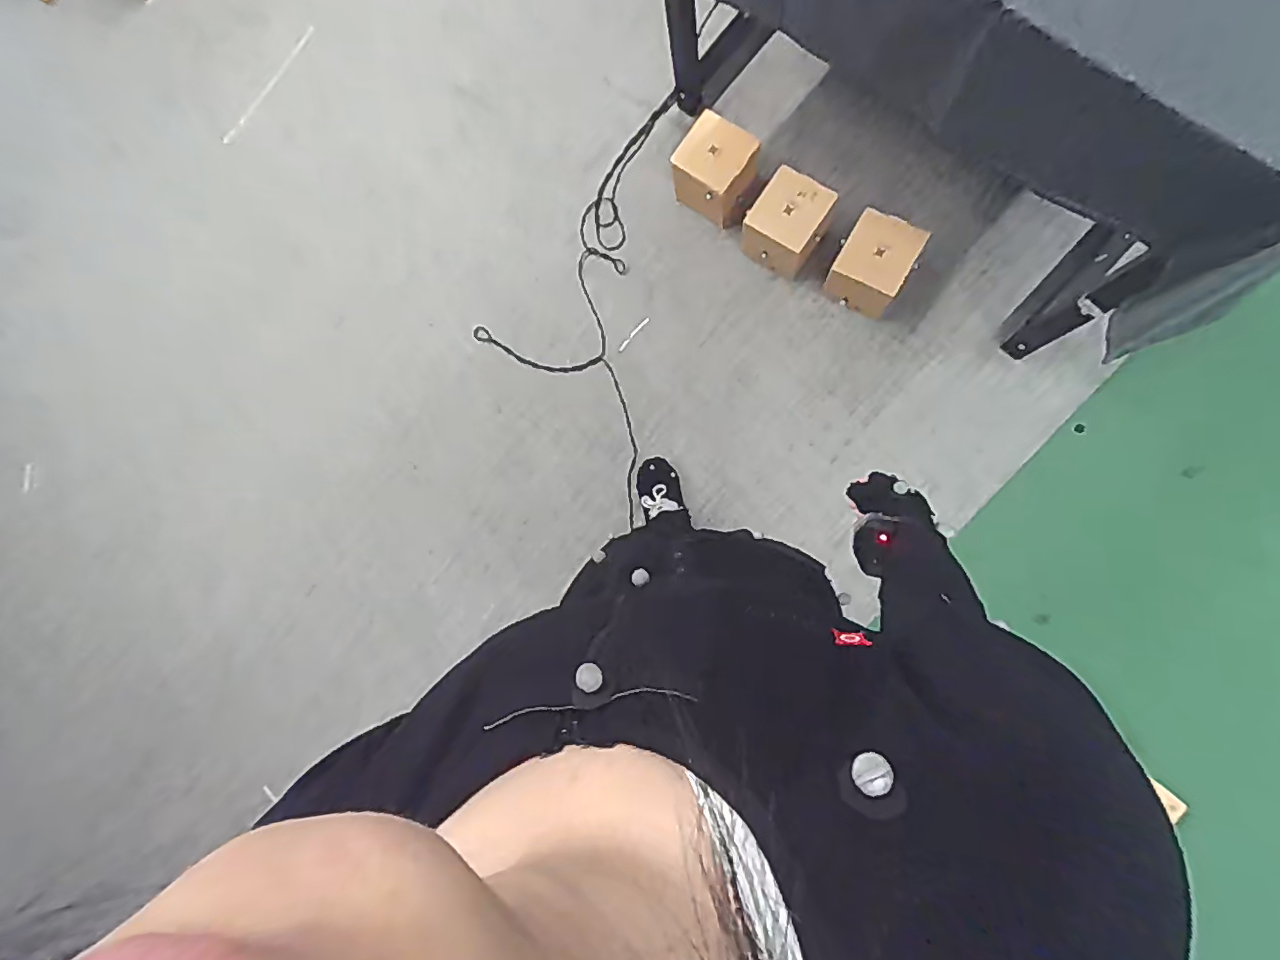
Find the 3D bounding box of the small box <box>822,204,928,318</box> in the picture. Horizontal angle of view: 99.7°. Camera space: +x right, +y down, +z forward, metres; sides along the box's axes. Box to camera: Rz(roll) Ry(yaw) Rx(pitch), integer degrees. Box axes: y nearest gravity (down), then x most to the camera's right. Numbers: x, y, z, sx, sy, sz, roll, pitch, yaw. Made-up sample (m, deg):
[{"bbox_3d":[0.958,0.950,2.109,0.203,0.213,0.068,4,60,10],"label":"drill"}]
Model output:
[{"bbox_3d":[0.580,-0.544,1.364,0.168,0.176,0.179,30,91,9],"label":"small box"}]
